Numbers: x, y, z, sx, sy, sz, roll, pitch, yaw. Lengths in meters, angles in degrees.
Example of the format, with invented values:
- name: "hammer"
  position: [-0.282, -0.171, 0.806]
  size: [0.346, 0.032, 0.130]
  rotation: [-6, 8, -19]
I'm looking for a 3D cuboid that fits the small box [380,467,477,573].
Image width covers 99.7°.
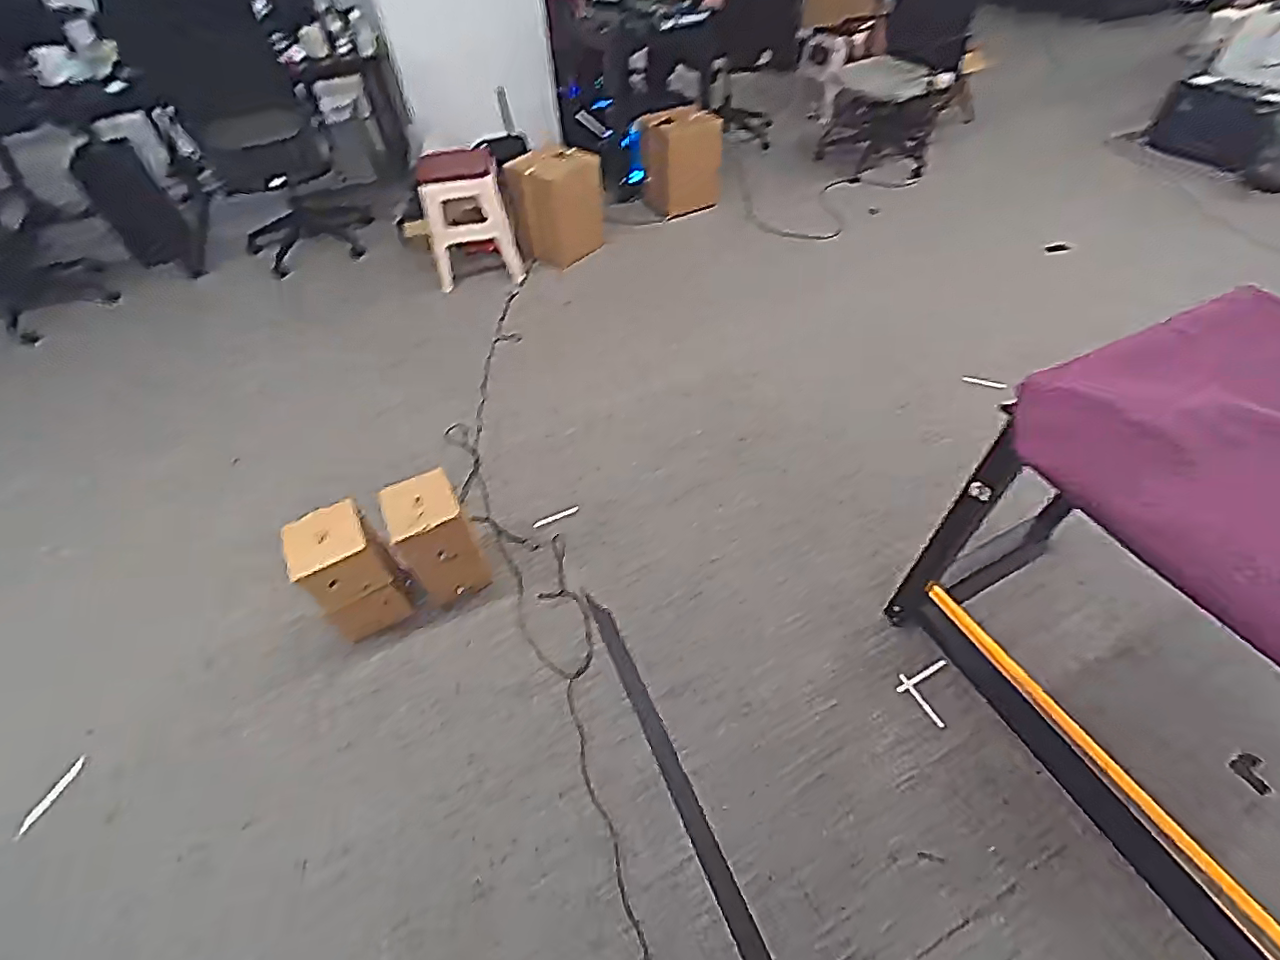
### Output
- name: "small box"
  position: [-0.535, 0.104, 1.379]
  size: [0.168, 0.176, 0.179]
  rotation: [-23, 54, -15]

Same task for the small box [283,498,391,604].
- name: "small box"
  position: [-0.739, 0.182, 1.331]
  size: [0.168, 0.176, 0.179]
  rotation: [-26, 53, -17]

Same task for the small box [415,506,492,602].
- name: "small box"
  position: [-0.529, 0.208, 1.507]
  size: [0.168, 0.176, 0.179]
  rotation: [-22, 54, -14]
